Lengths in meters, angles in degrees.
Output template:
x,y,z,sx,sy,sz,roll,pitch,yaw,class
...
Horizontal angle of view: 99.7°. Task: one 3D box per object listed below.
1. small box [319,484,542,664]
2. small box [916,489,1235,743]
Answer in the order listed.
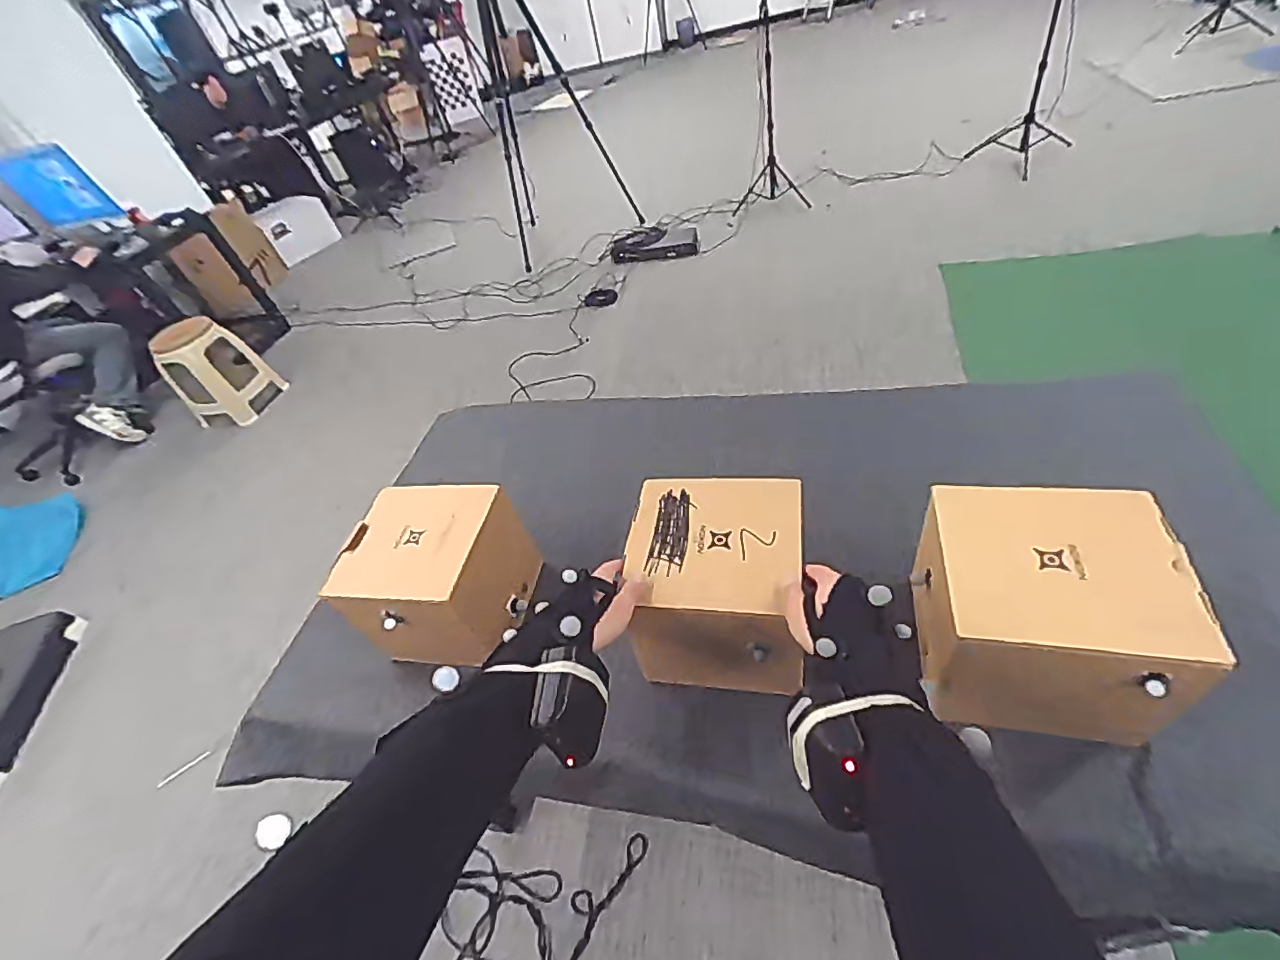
x,y,z,sx,sy,sz,roll,pitch,yaw,class
-0.250,0.121,0.693,0.179,0.176,0.168,-1,48,15,small box
0.366,0.125,0.505,0.179,0.176,0.168,1,47,18,small box
